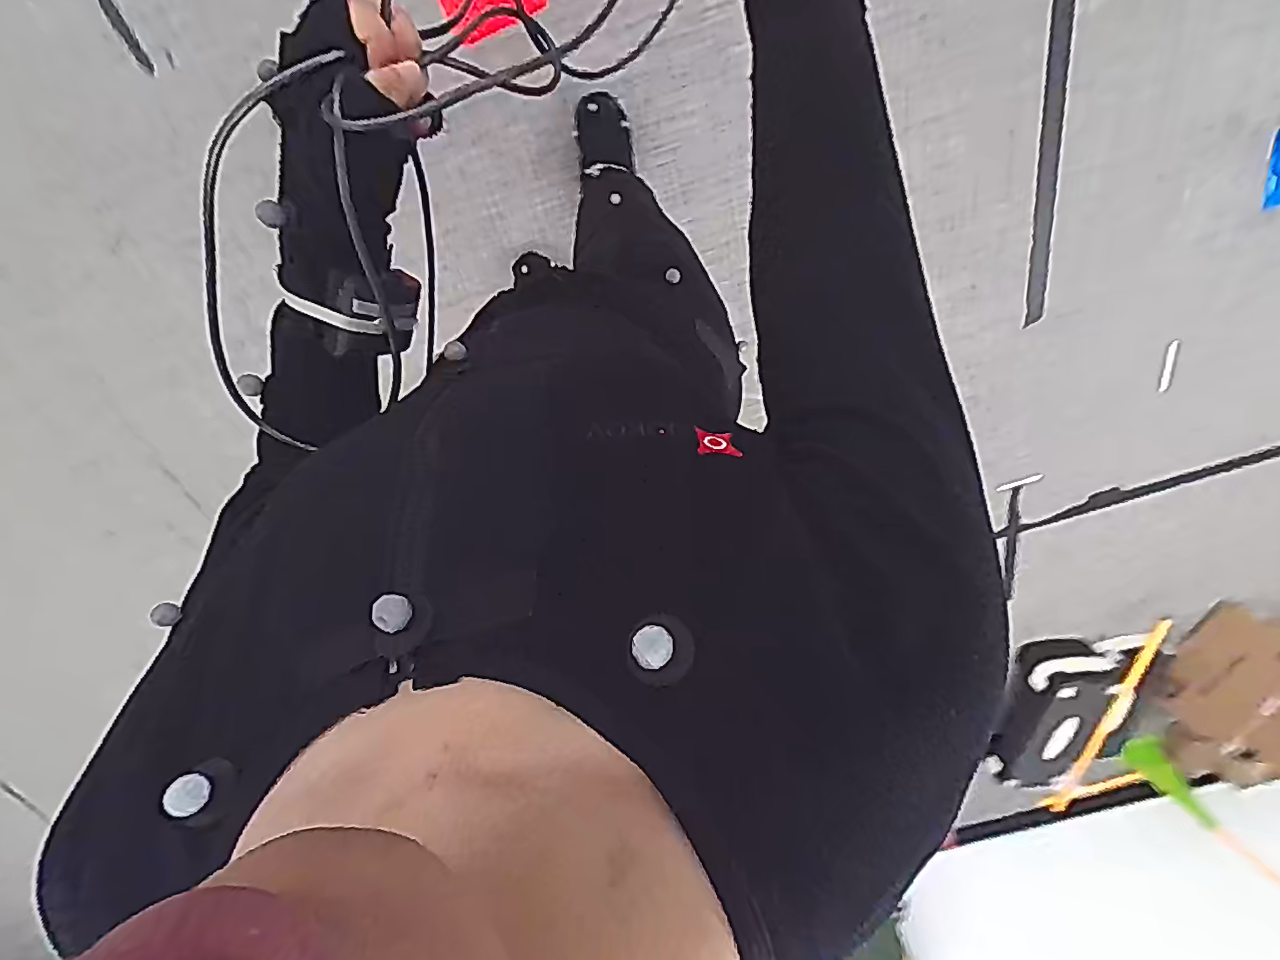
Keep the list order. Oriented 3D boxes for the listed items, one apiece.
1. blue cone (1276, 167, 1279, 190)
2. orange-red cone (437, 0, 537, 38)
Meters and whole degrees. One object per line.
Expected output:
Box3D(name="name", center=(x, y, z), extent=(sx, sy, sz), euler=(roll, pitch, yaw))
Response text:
Box3D(name="blue cone", center=(1.638, -0.727, 1.139), extent=(0.192, 0.380, 0.193), euler=(-21, 120, 7))
Box3D(name="orange-red cone", center=(-0.293, -0.884, 0.859), extent=(0.198, 0.360, 0.199), euler=(-20, 121, 7))
